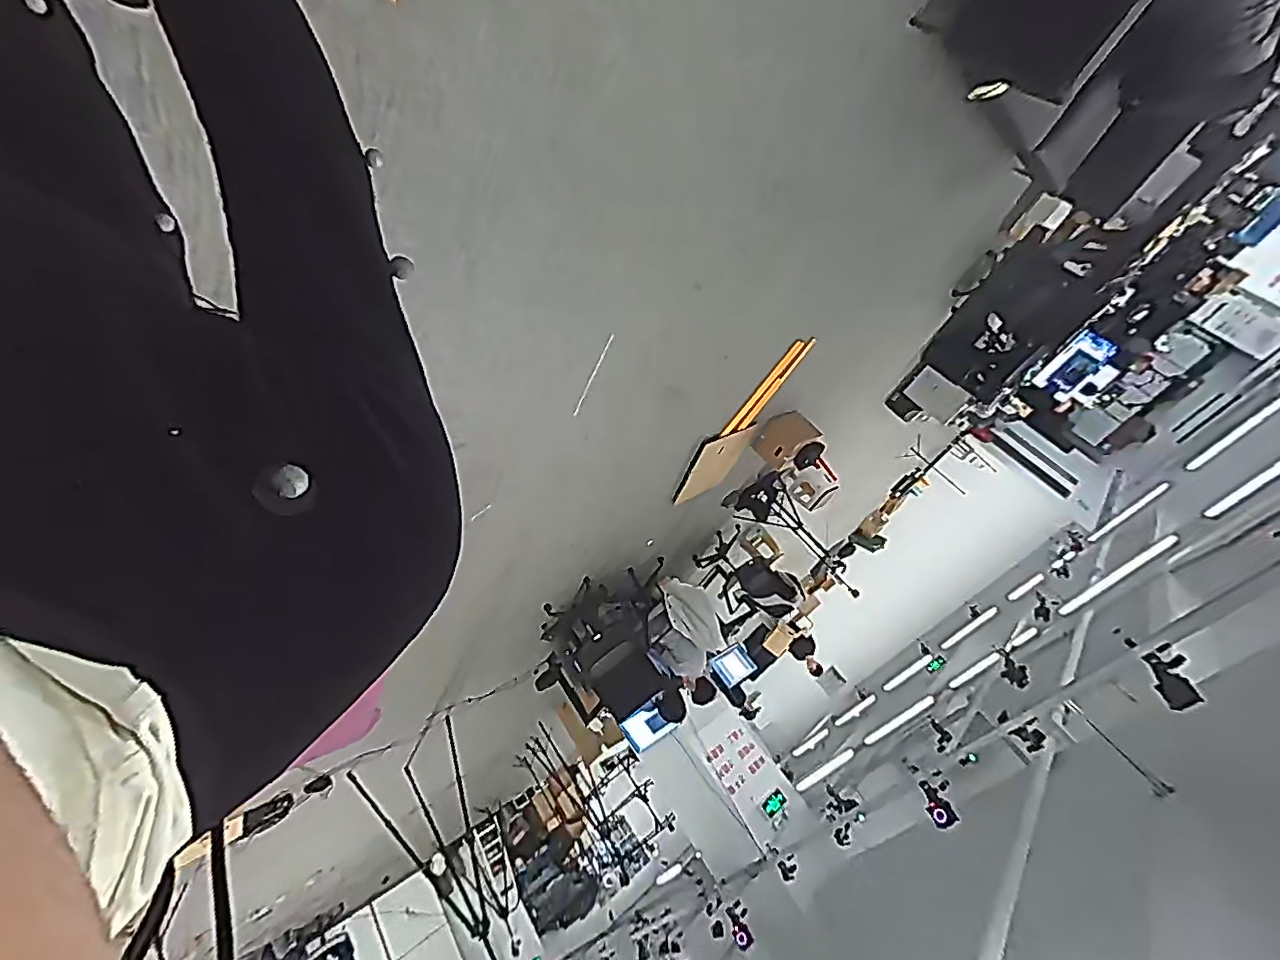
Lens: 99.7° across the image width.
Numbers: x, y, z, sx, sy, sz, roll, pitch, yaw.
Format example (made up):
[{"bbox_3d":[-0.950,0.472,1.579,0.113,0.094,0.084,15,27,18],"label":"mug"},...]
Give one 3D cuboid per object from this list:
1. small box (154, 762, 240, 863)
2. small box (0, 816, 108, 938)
[{"bbox_3d":[-1.291,0.960,1.578,0.168,0.176,0.179,-12,144,-46],"label":"small box"},{"bbox_3d":[-1.485,0.999,1.372,0.168,0.176,0.179,-14,144,-46],"label":"small box"}]
